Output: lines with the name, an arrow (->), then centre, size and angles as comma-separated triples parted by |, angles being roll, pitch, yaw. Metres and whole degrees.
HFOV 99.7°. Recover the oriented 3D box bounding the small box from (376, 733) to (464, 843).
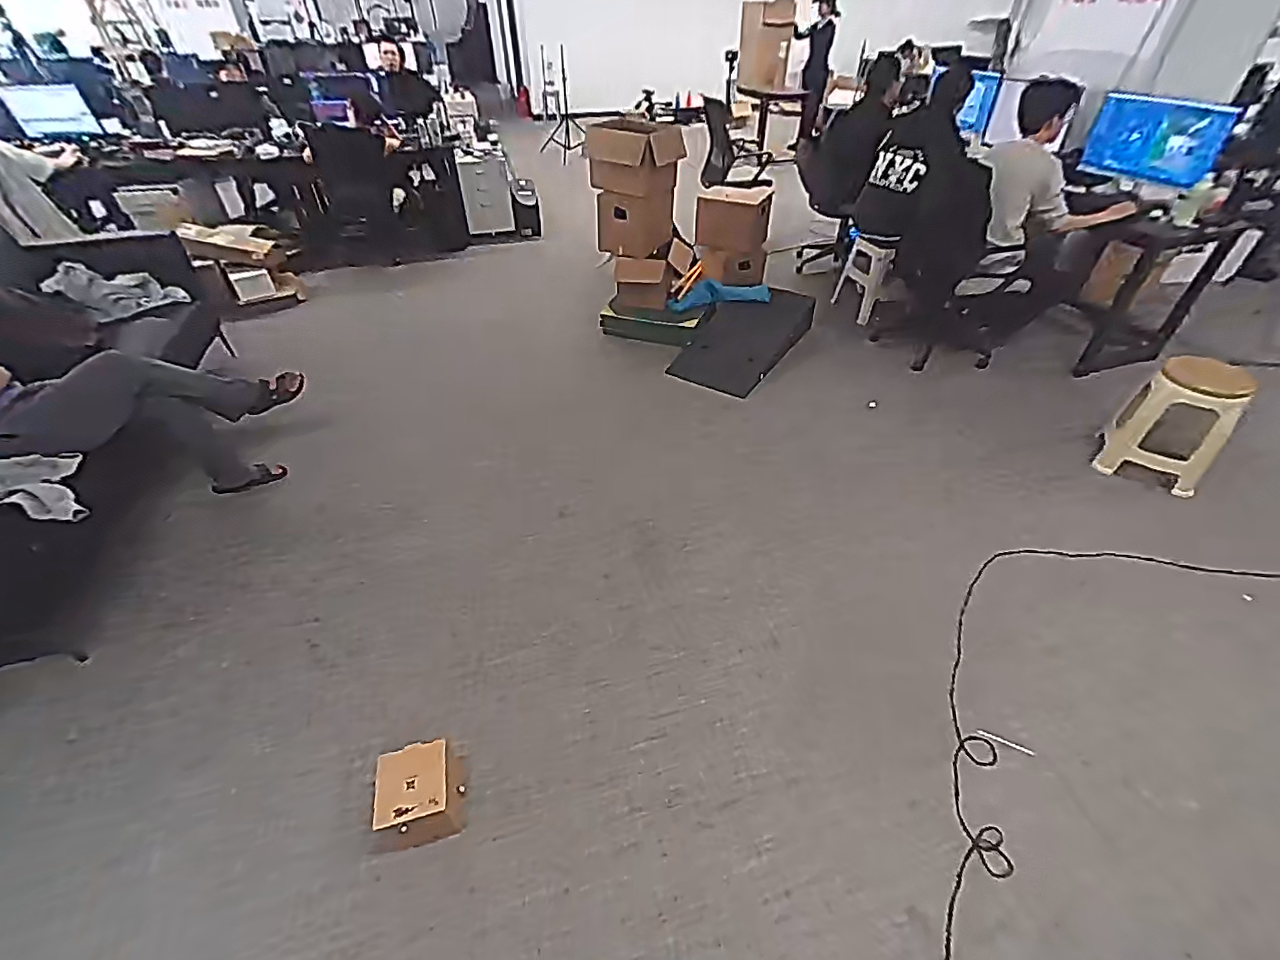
small box -> -0.549, 0.780, 1.372 | 0.168, 0.176, 0.179 | -10, 42, -10
